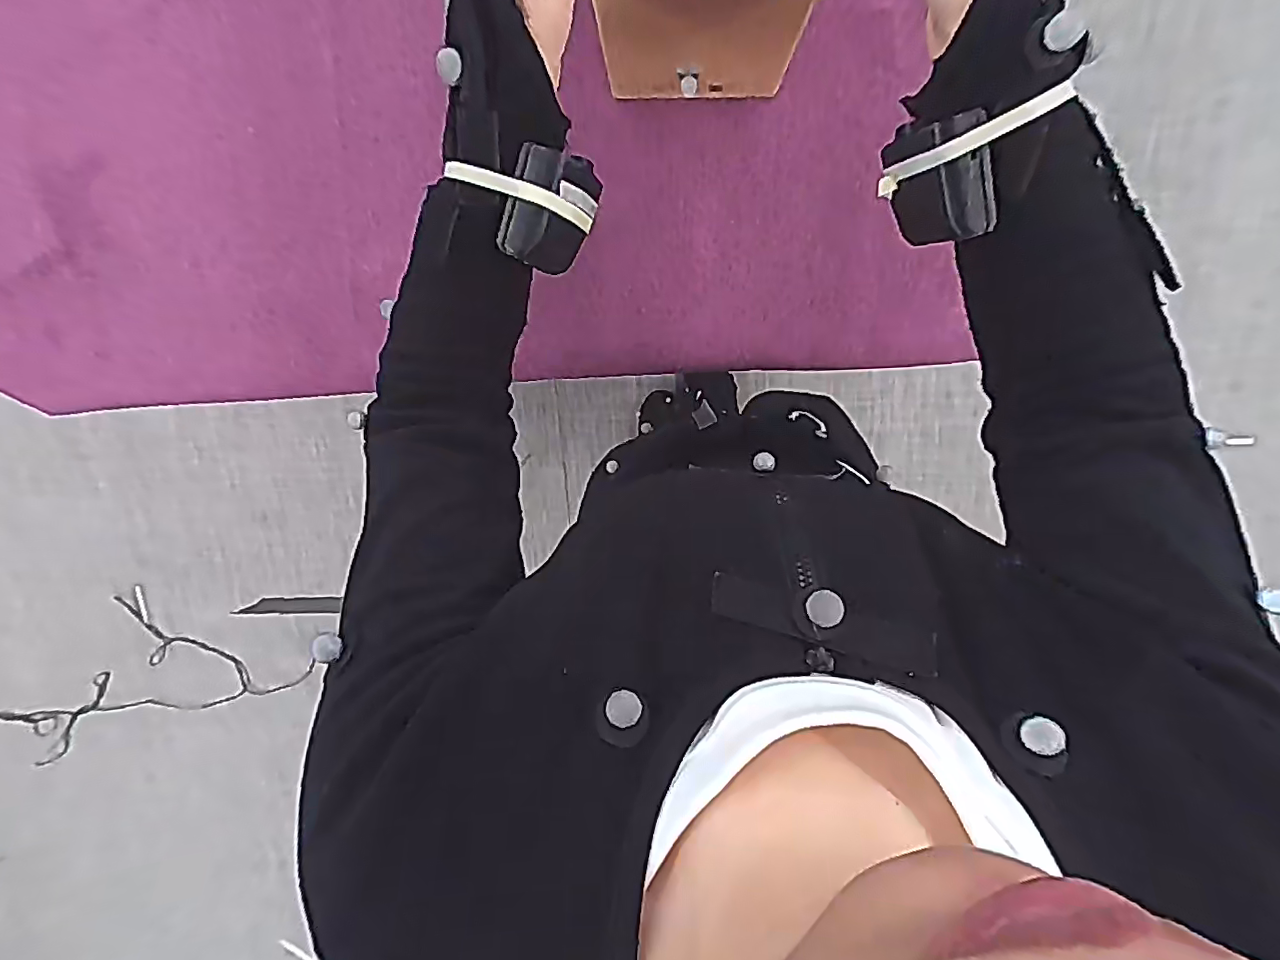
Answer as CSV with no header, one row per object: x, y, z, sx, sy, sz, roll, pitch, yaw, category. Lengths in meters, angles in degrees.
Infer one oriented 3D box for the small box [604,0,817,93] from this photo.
0.055,-0.455,0.443,0.168,0.176,0.179,2,105,3,small box
